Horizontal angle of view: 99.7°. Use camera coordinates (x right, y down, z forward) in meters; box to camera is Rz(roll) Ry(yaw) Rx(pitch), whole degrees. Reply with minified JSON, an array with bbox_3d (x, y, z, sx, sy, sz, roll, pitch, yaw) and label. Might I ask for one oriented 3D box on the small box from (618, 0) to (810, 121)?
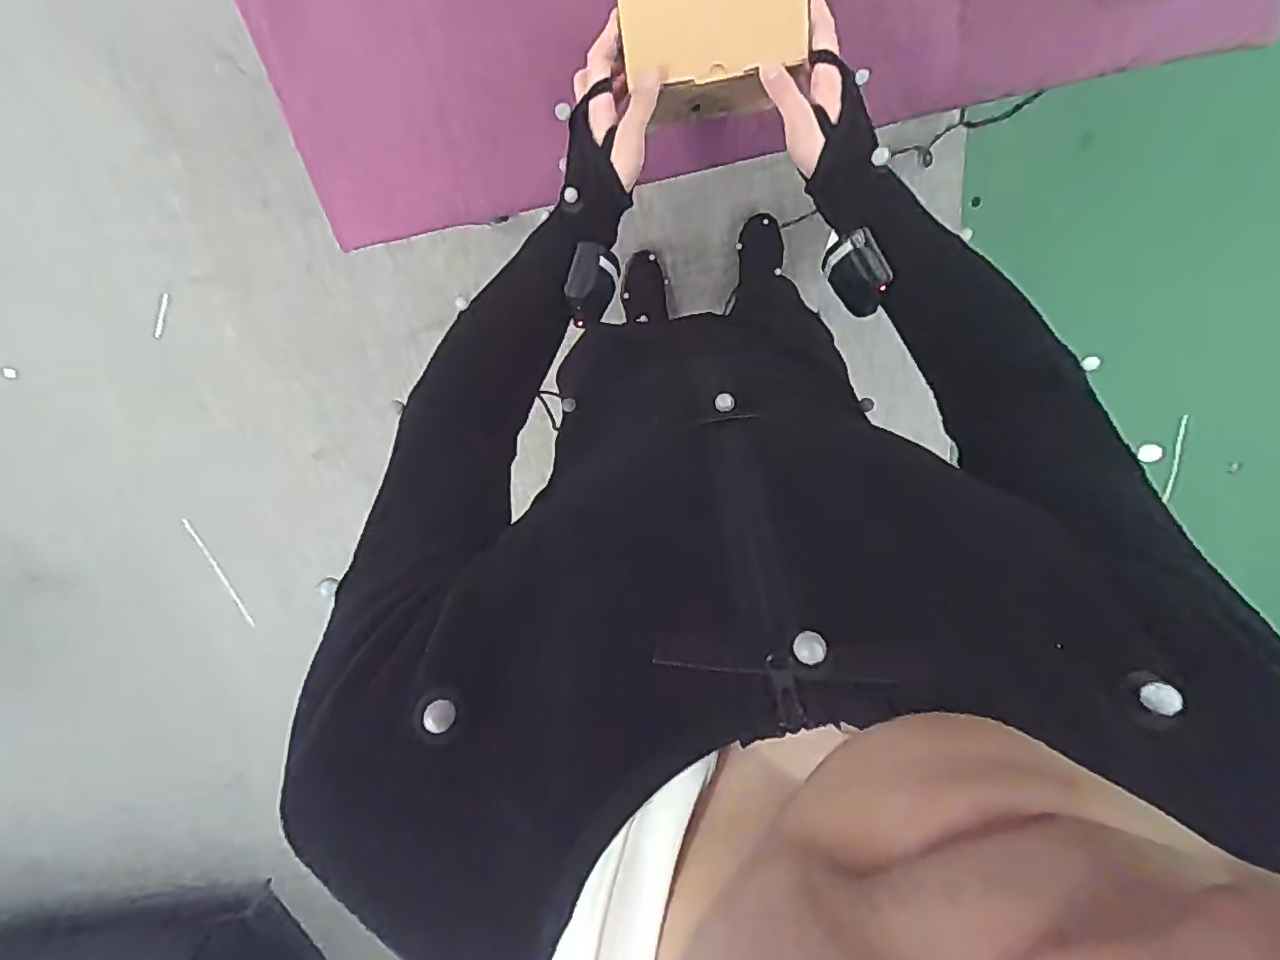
[{"bbox_3d":[0.061,-0.481,0.528,0.168,0.176,0.179,-8,114,5],"label":"small box"}]
